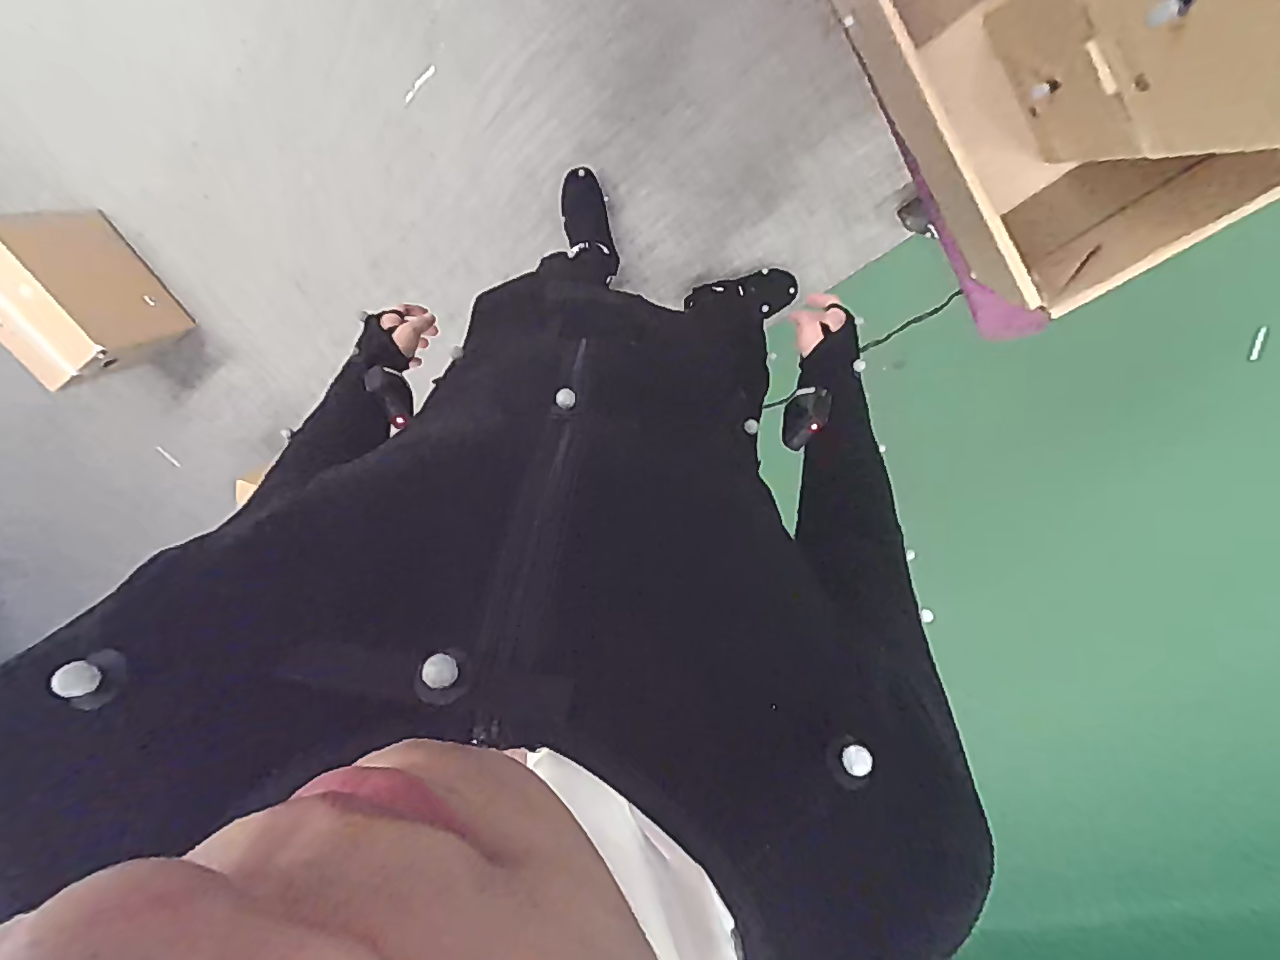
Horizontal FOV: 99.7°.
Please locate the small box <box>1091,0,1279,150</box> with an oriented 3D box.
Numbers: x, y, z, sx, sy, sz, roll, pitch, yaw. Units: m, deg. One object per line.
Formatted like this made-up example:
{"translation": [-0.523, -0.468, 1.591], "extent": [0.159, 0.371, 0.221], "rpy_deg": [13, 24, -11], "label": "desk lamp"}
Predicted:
{"translation": [0.410, -0.325, 0.313], "extent": [0.179, 0.176, 0.168], "rpy_deg": [-32, 107, 24], "label": "small box"}
